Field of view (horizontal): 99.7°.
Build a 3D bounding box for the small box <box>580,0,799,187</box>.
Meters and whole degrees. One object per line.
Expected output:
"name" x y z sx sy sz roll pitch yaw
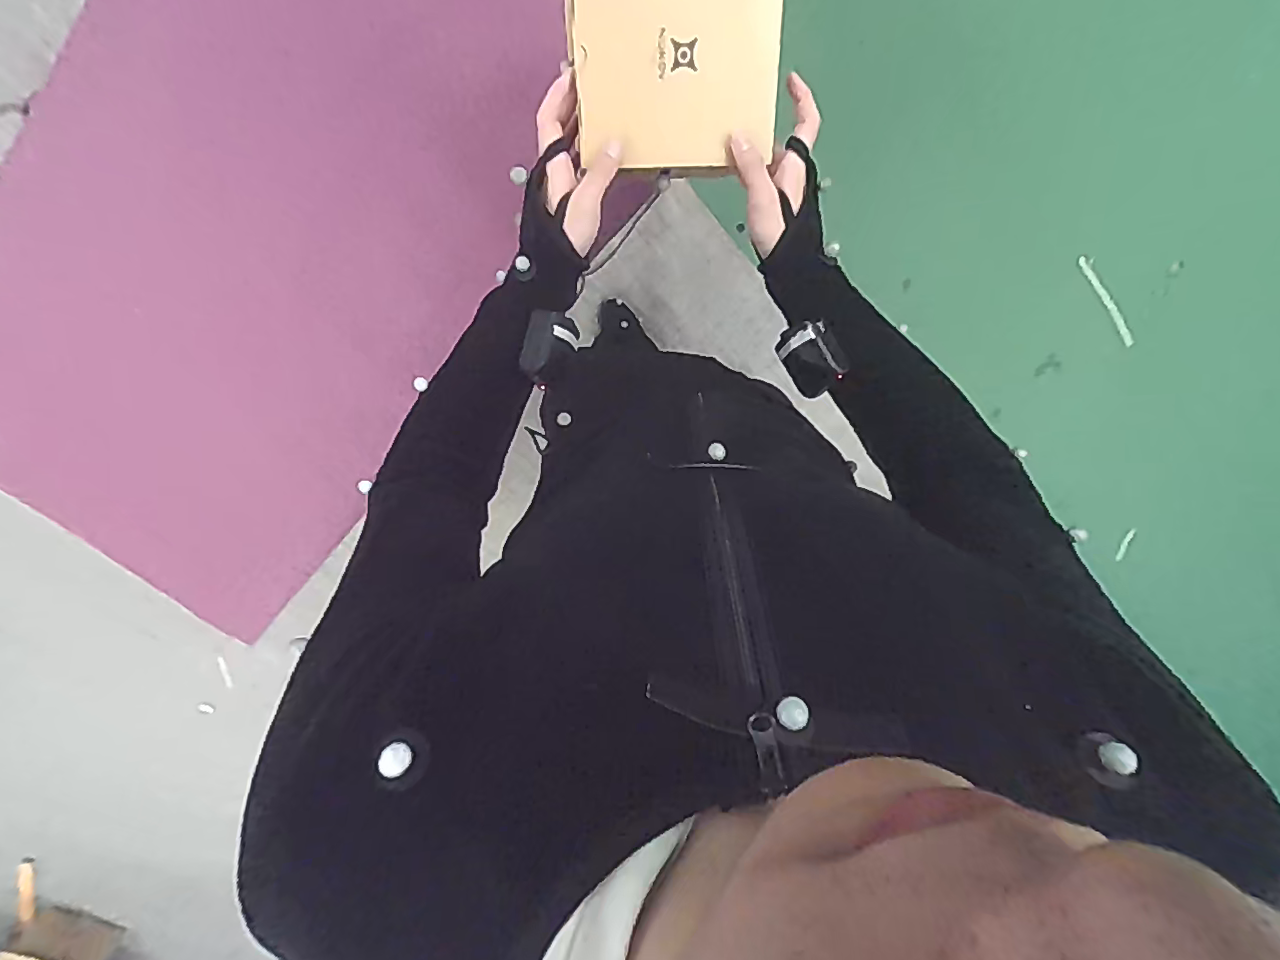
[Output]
"small box" 0.035 -0.383 0.524 0.179 0.176 0.168 -3 117 -5
